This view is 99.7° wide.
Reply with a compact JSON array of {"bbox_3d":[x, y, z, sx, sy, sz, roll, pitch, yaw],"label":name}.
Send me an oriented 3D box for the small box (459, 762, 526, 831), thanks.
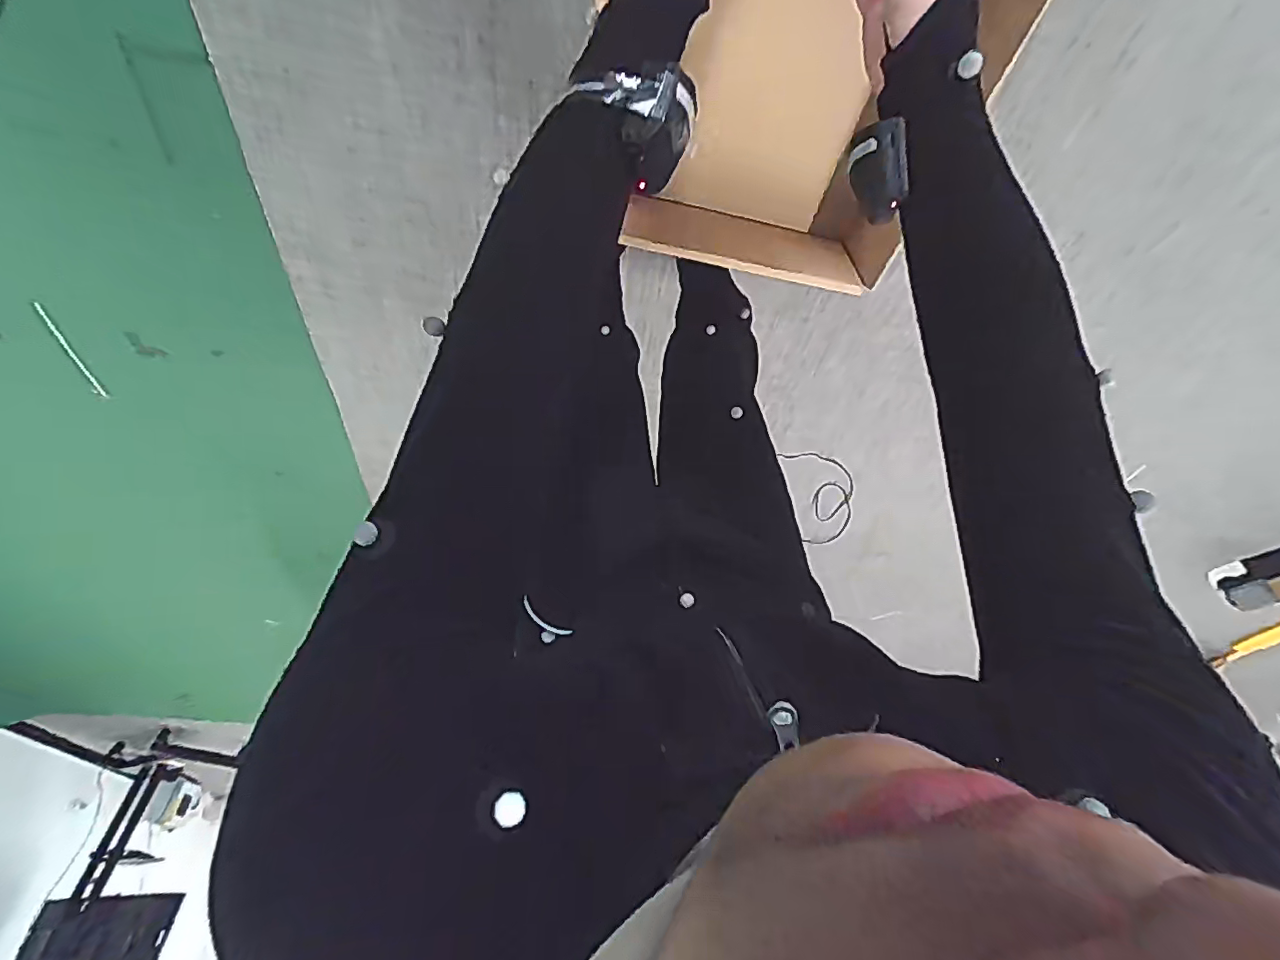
[{"bbox_3d":[-0.479,1.039,1.776,0.168,0.176,0.179,0,139,1],"label":"small box"}]
